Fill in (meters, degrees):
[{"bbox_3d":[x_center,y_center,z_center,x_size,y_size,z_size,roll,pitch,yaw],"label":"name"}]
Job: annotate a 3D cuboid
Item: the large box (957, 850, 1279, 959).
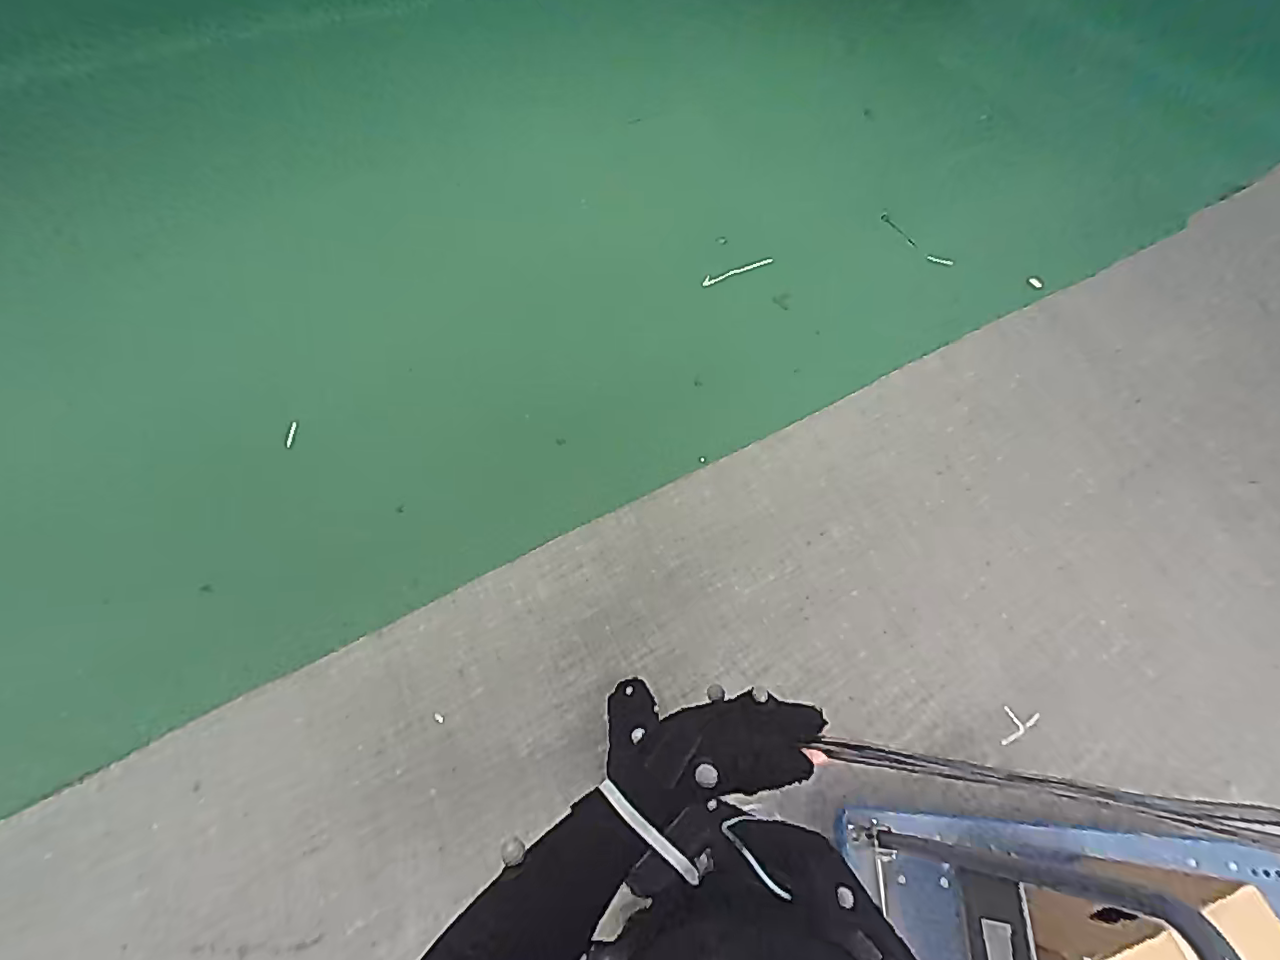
[{"bbox_3d":[0.792,0.854,0.817,0.320,0.320,0.408,-14,62,-10],"label":"large box"}]
